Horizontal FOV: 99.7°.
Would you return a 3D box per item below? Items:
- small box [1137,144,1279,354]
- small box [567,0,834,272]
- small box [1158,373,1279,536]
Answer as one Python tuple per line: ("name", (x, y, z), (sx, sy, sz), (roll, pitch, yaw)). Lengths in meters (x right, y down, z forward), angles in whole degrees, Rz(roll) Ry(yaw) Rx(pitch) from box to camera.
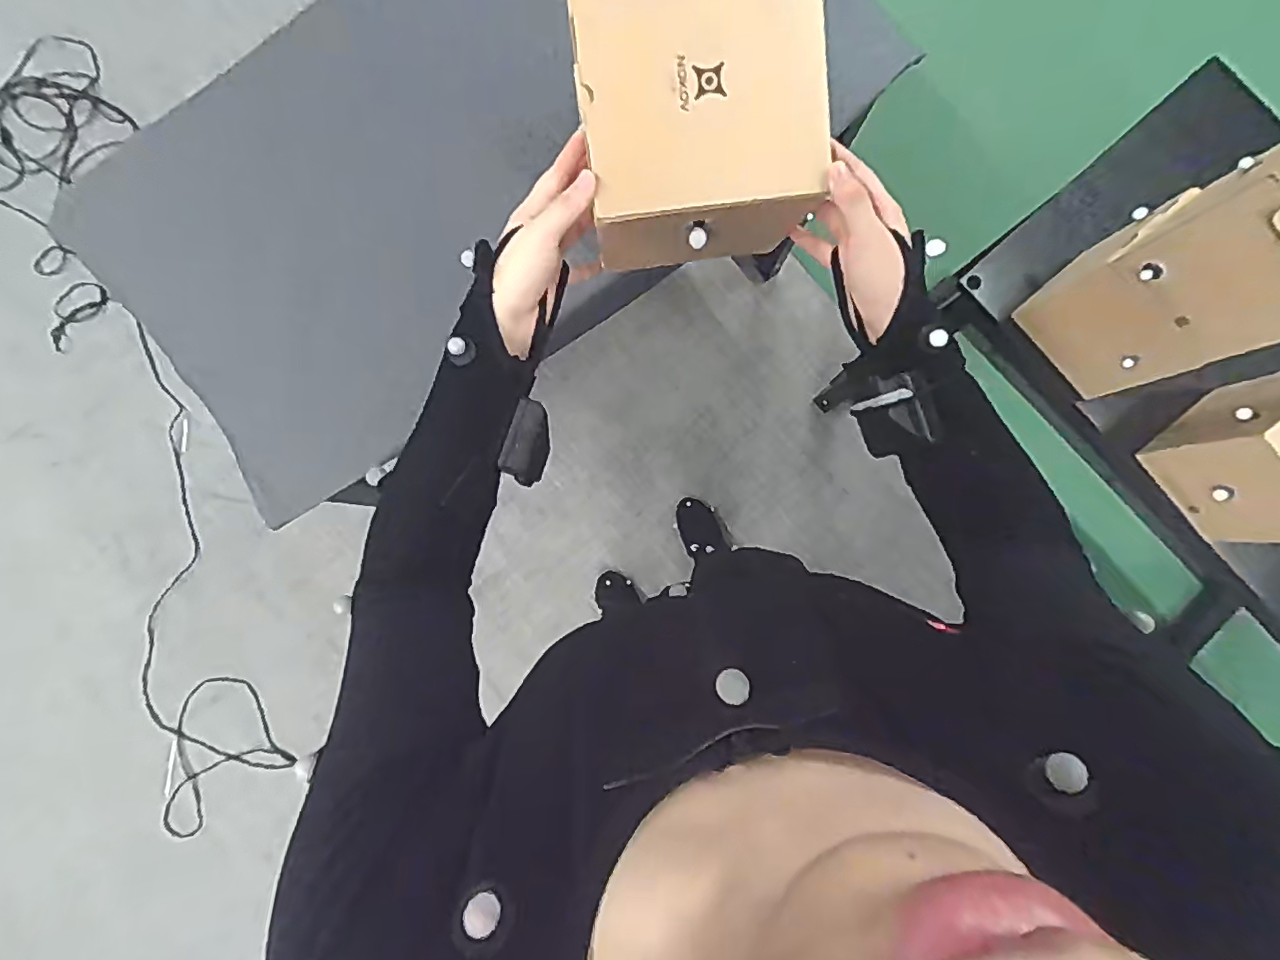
("small box", (0.700, -0.264, 0.578), (0.179, 0.176, 0.168), (-37, 87, -5))
("small box", (0.044, -0.282, 0.450), (0.179, 0.176, 0.168), (-7, 100, 2))
("small box", (0.864, -0.035, 0.722), (0.179, 0.176, 0.168), (-37, 86, -4))
